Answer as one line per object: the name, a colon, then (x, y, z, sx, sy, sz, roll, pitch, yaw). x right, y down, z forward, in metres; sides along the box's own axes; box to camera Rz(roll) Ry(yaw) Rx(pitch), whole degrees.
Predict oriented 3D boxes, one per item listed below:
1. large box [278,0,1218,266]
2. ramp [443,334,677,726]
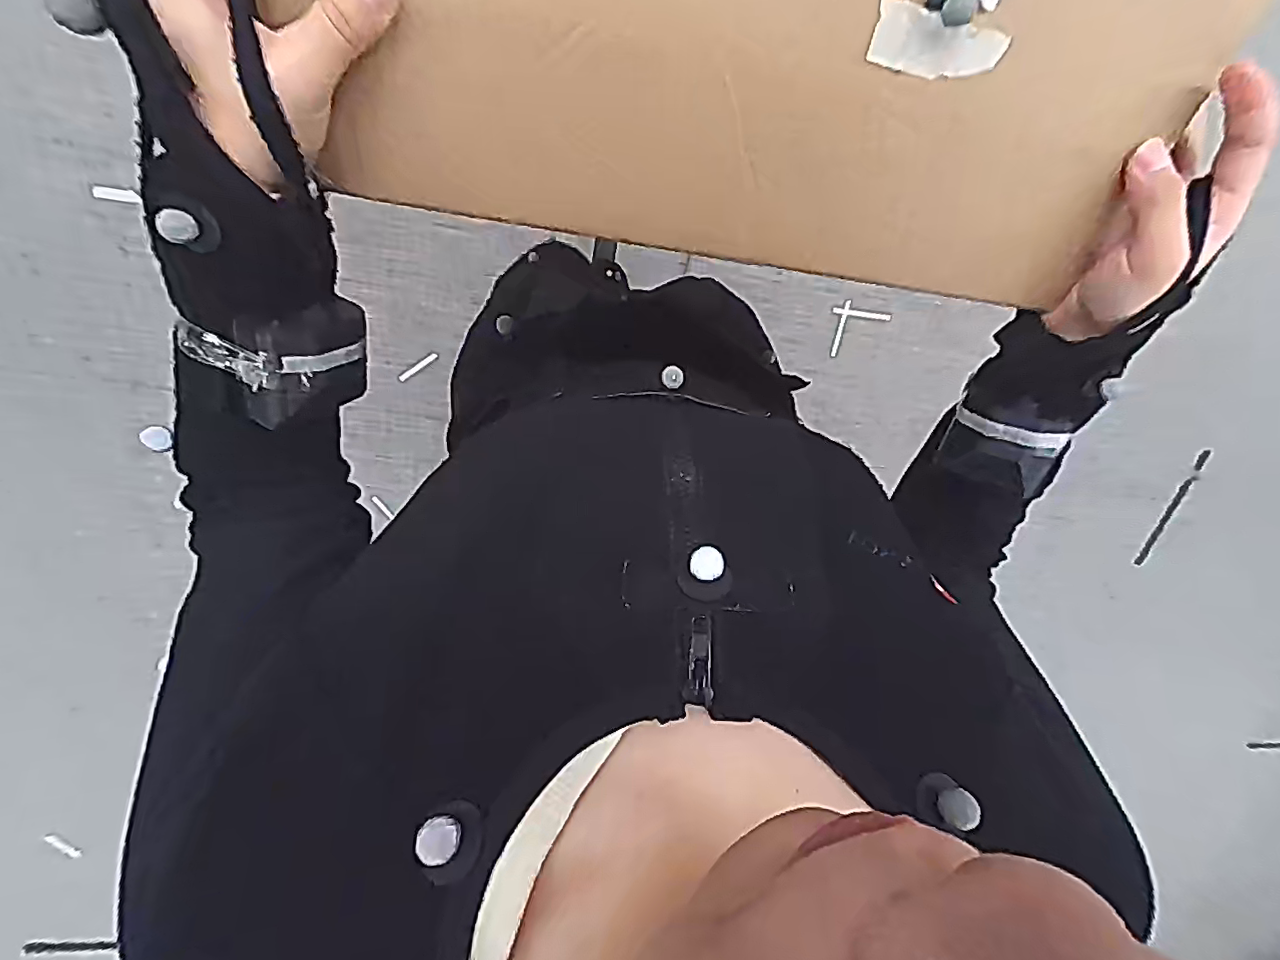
large box: (0.052, -0.348, 0.303, 0.408, 0.320, 0.320, 5, 130, -10)
ramp: (-0.216, 0.171, 1.376, 0.509, 0.206, 0.991, 5, 111, -8)
